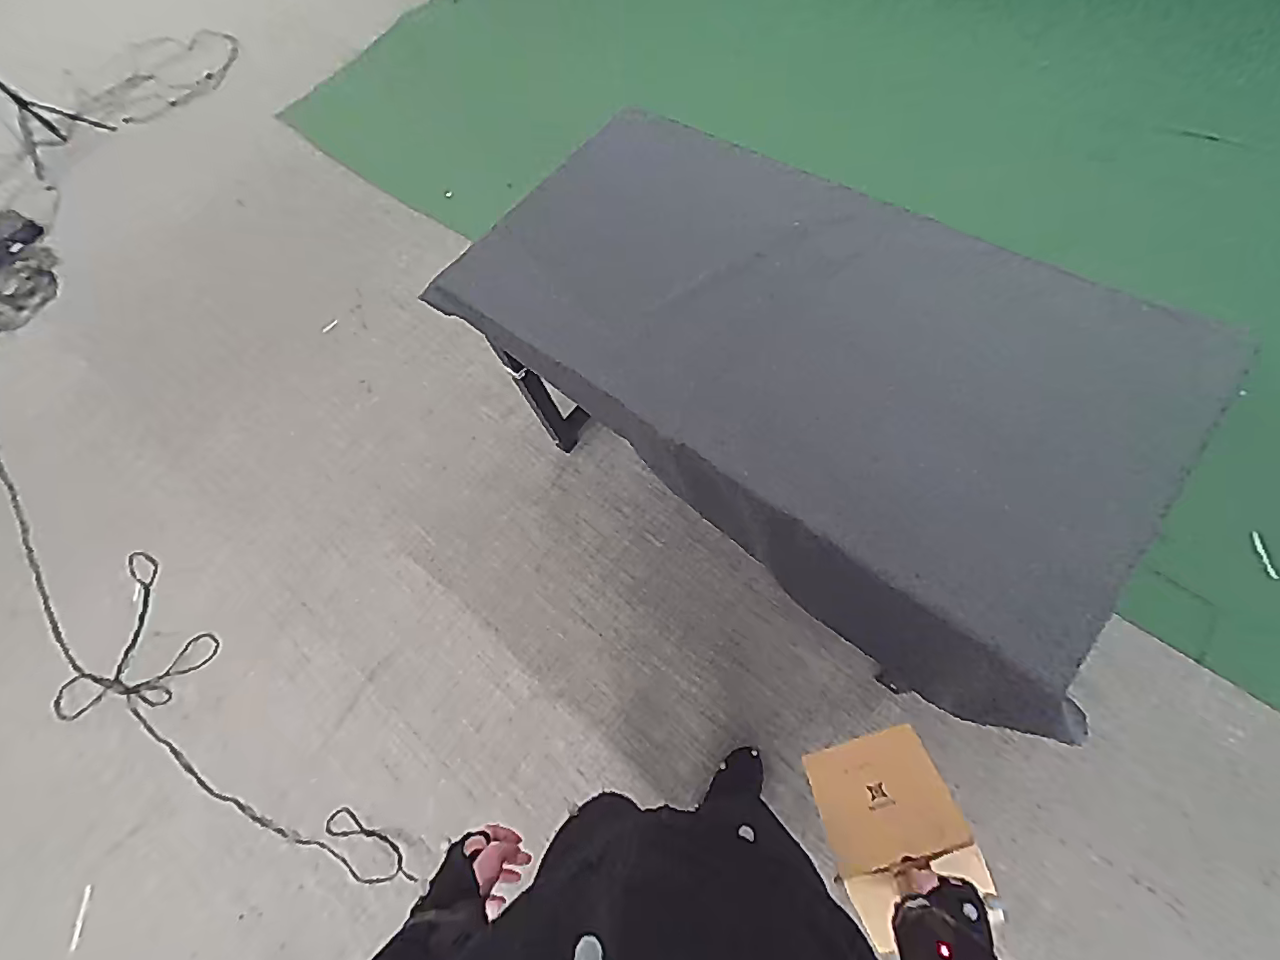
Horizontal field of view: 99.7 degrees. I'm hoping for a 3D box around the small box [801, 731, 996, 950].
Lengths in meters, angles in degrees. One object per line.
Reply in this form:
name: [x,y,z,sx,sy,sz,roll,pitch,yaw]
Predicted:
small box: [0.341,0.485,0.728,0.168,0.179,0.176,-22,109,10]
